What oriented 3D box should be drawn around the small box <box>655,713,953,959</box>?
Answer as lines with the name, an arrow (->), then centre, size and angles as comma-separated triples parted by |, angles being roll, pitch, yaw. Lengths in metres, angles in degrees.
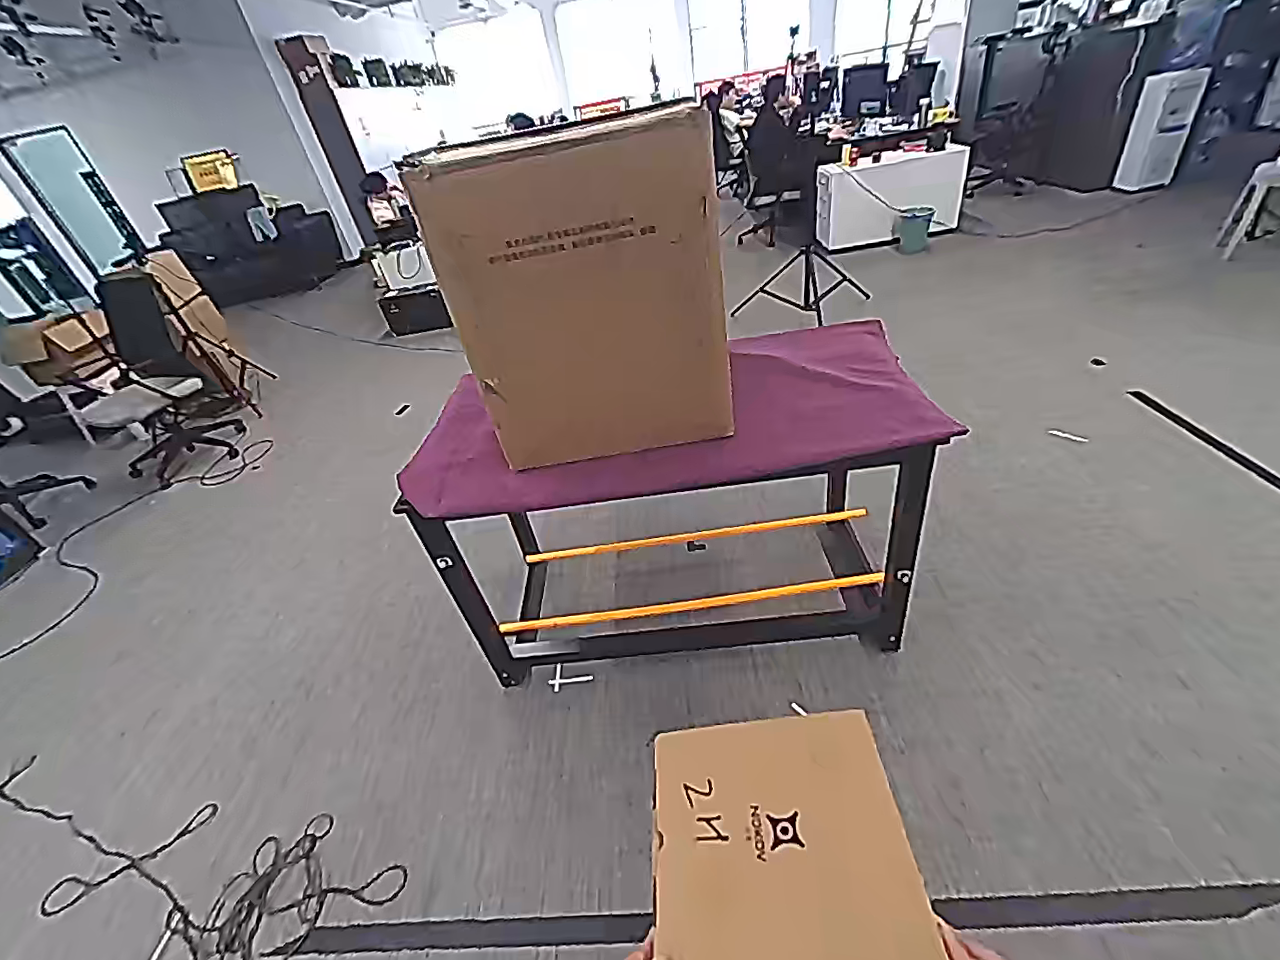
small box -> 0.117, 0.312, 0.422 | 0.179, 0.176, 0.168 | -12, 32, 10
